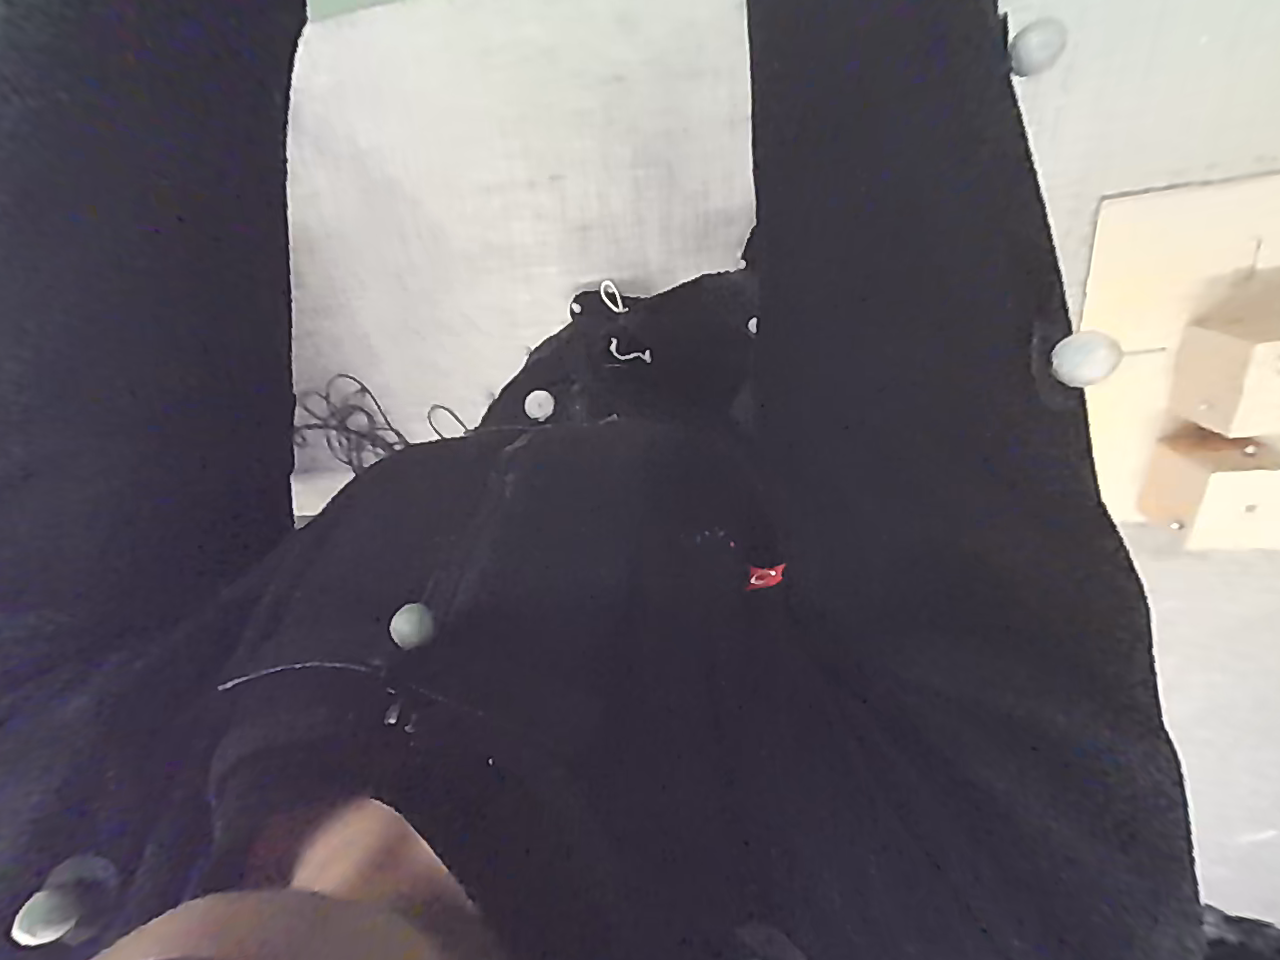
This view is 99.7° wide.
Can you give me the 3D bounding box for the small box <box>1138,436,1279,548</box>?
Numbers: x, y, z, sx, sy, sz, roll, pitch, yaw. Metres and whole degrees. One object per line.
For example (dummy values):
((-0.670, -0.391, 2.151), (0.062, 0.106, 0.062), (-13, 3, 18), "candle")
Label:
((1.166, 0.018, 1.094), (0.168, 0.176, 0.179), (-3, 116, 13), "small box")
